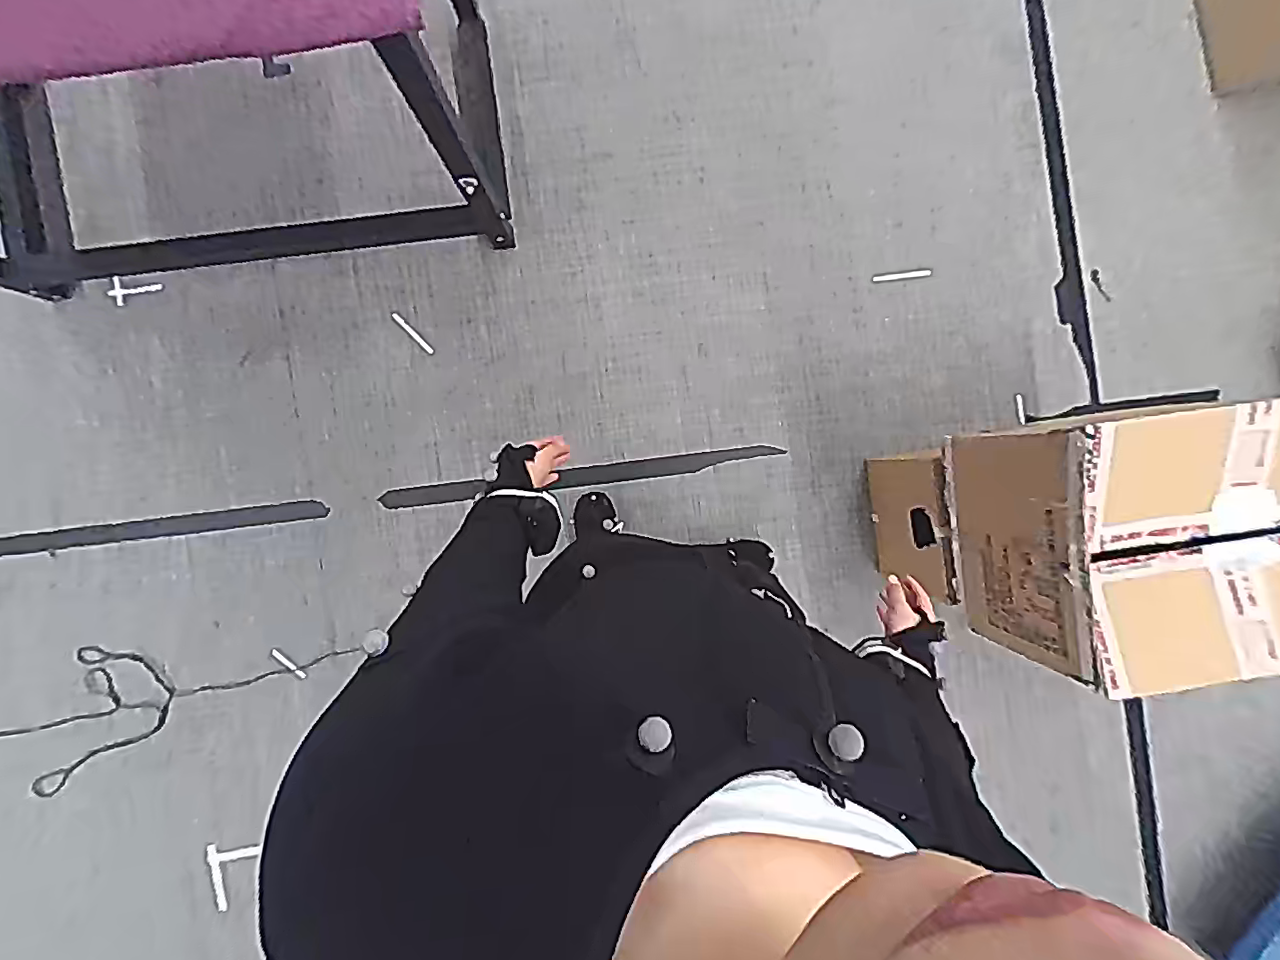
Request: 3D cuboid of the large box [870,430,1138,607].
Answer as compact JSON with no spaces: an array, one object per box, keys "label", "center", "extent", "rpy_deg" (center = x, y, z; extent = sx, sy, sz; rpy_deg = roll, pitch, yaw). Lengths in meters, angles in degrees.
[{"label":"large box","center":[0.812,0.075,1.258],"extent":[0.408,0.320,0.320],"rpy_deg":[-9,91,0]}]
